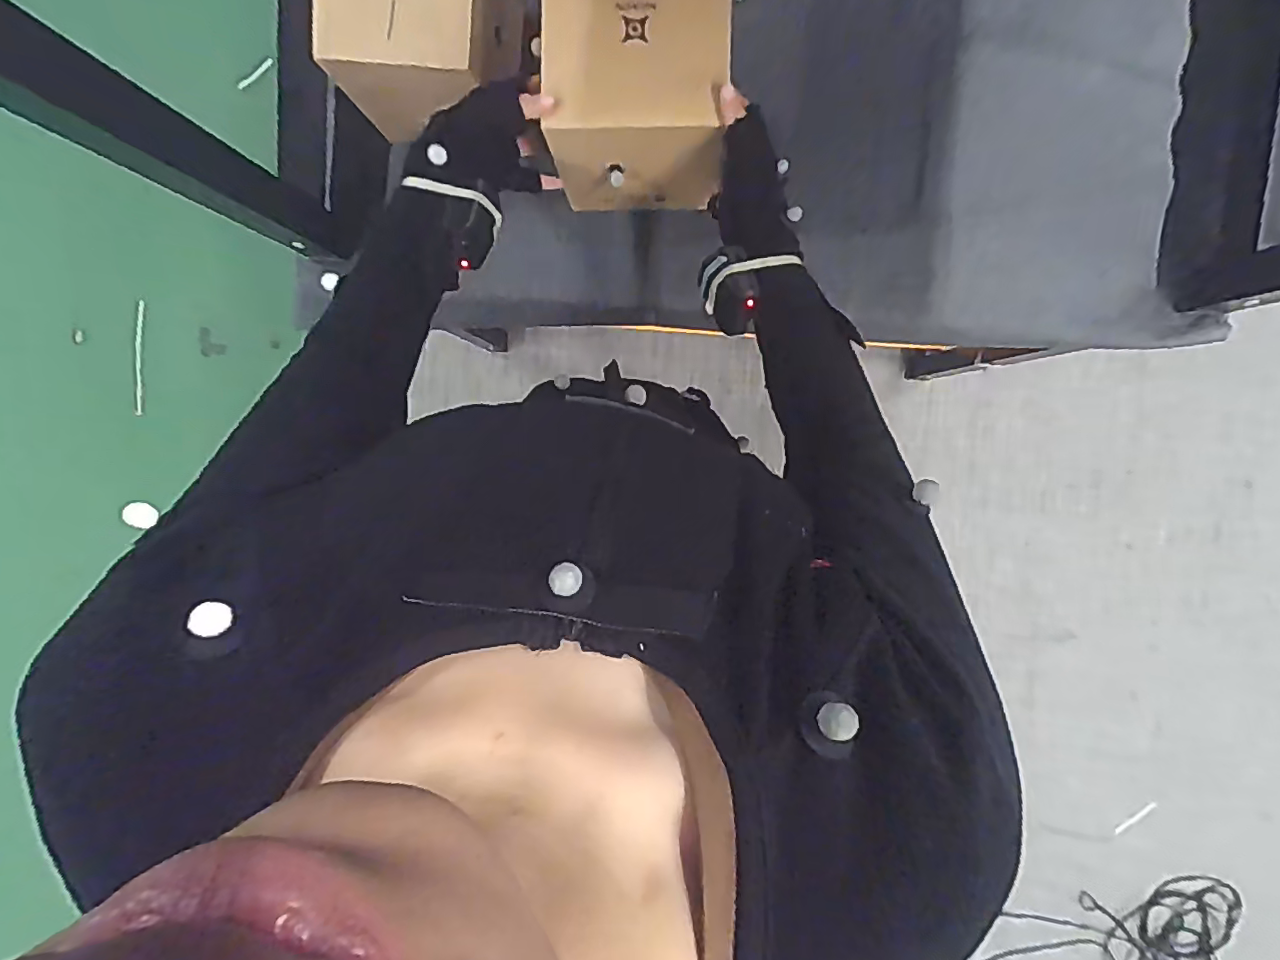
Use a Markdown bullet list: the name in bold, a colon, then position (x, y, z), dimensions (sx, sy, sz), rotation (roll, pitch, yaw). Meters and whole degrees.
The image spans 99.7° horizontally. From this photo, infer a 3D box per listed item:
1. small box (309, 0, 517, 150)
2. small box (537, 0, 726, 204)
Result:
- **small box**: position (-0.245, -0.519, 0.620), dimensions (0.168, 0.176, 0.179), rotation (6, 96, 1)
- **small box**: position (-0.004, -0.399, 0.545), dimensions (0.168, 0.176, 0.179), rotation (1, 93, 2)
